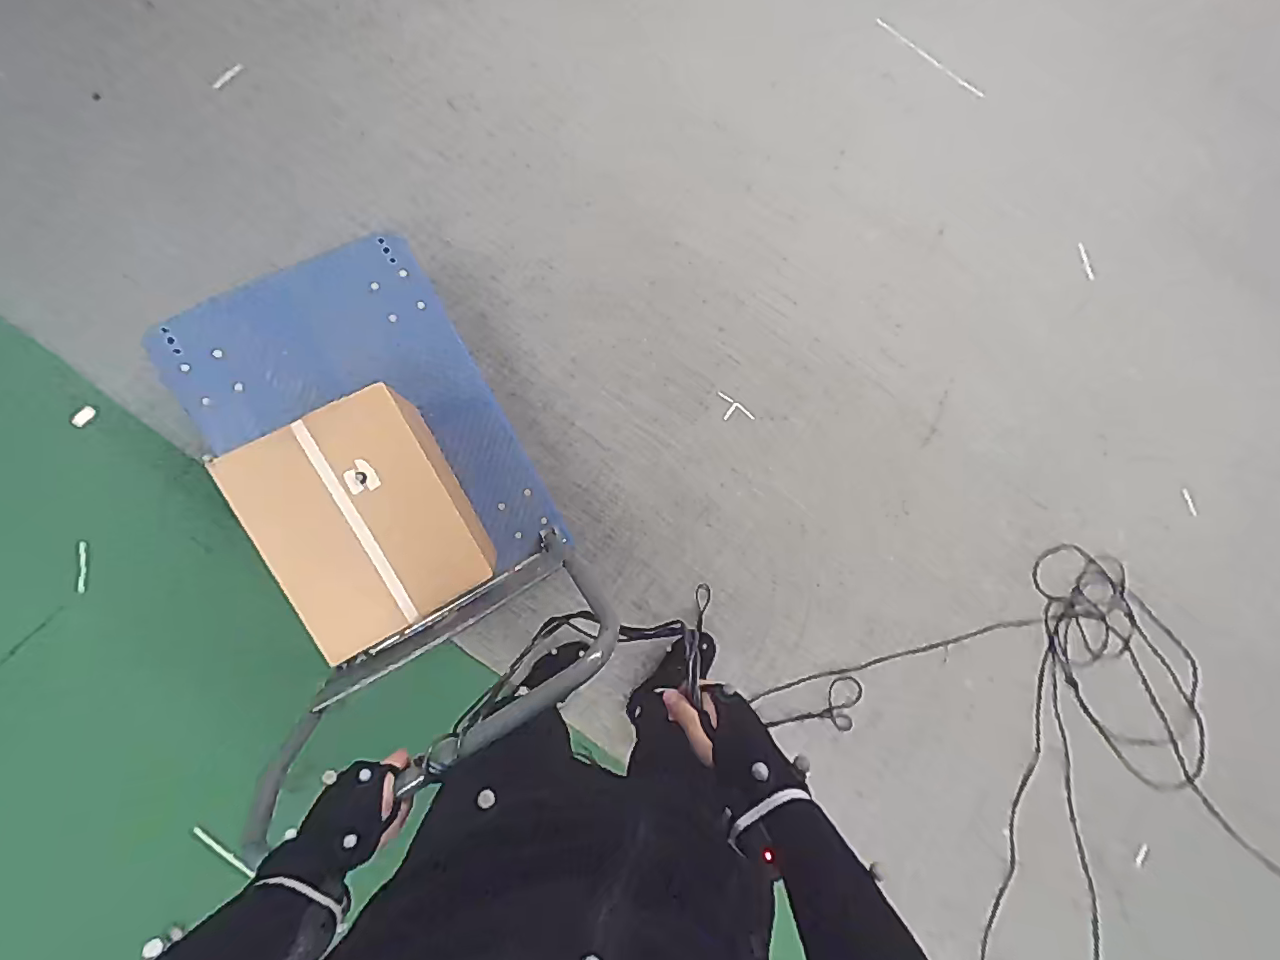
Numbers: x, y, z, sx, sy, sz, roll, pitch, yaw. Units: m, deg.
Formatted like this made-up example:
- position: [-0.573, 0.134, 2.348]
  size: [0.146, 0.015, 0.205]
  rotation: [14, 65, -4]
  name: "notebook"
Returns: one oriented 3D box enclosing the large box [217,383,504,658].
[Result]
- position: [-0.515, 0.072, 1.097]
  size: [0.320, 0.320, 0.408]
  rotation: [-30, 95, -12]
  name: "large box"
